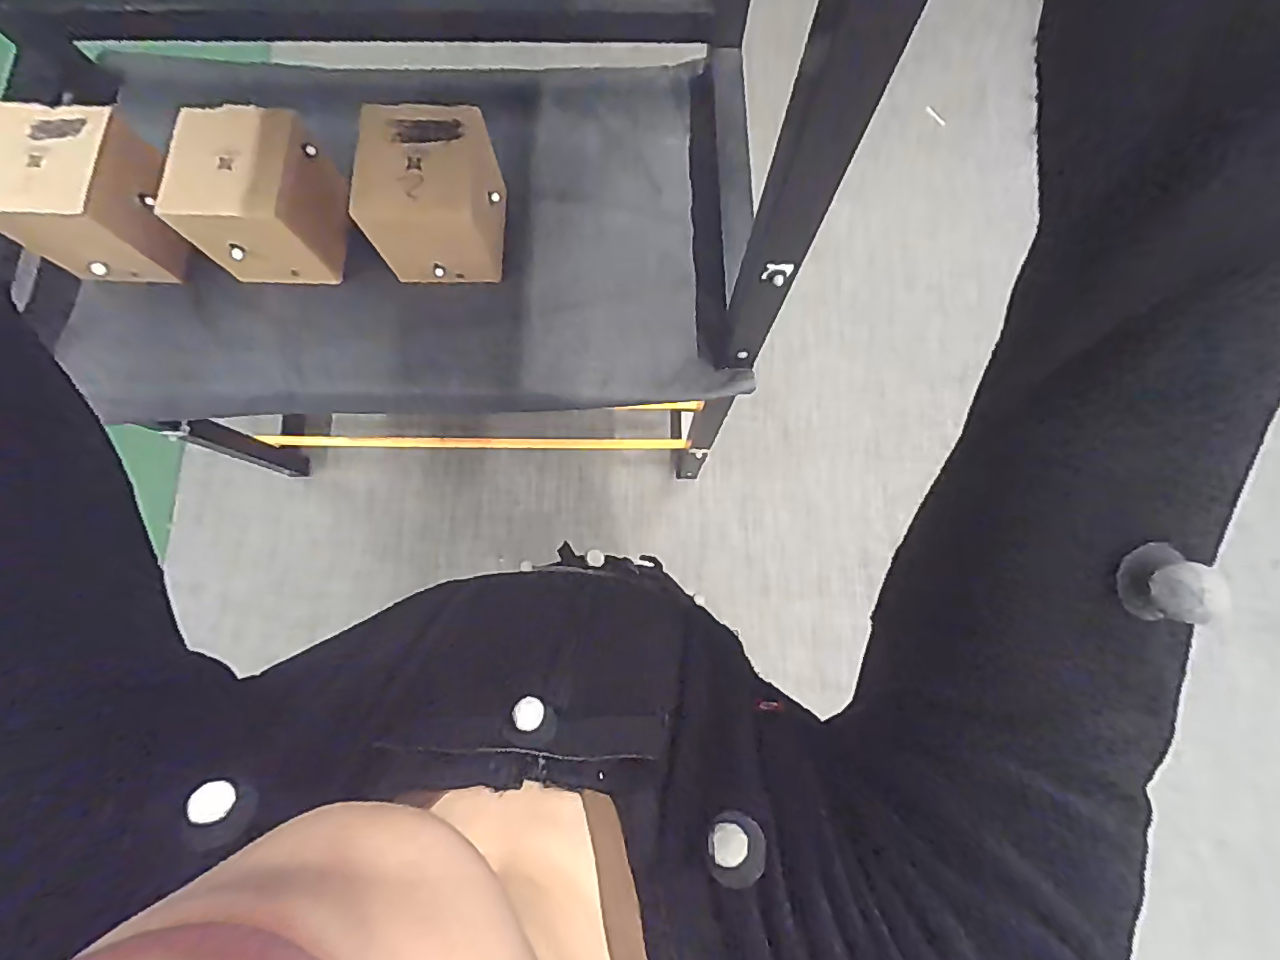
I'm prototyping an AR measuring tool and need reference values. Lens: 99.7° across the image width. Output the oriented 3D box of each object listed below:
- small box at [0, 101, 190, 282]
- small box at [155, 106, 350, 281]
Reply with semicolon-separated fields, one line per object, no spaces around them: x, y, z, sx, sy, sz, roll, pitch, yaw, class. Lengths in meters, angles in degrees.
-0.820;-0.425;0.816;0.168;0.176;0.179;1;79;0;small box
-0.568;-0.422;0.819;0.168;0.176;0.179;1;78;0;small box
